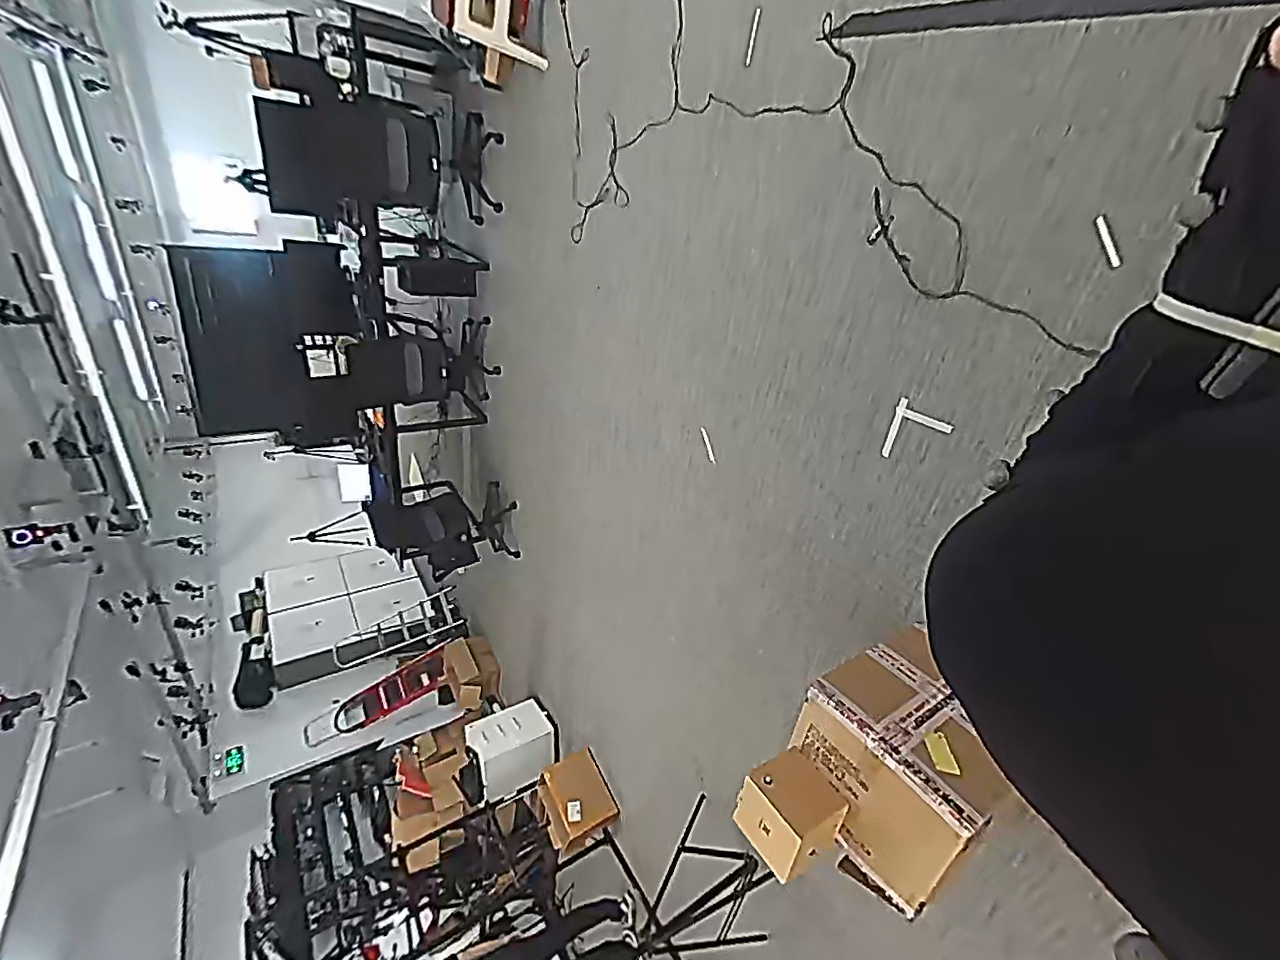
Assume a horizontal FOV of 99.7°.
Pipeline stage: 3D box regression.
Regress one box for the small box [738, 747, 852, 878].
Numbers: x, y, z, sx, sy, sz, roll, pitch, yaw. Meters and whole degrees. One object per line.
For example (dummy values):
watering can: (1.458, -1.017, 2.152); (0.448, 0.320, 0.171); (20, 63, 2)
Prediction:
small box: (0.364, 0.771, 1.273); (0.179, 0.176, 0.168); (39, 129, 48)
